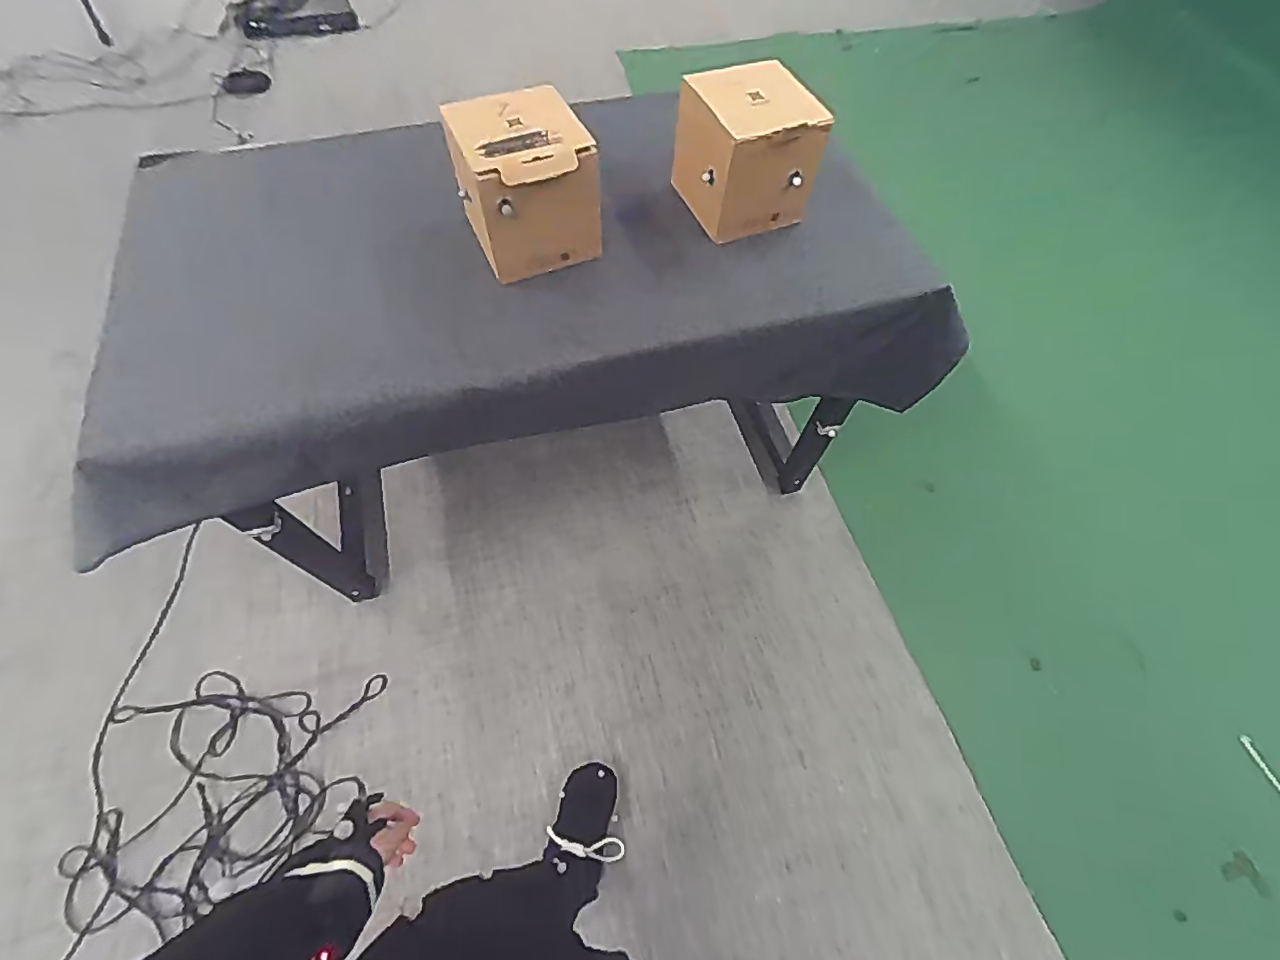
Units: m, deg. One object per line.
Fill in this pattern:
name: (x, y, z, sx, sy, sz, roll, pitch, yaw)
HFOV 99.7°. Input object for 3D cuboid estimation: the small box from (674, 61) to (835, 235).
small box: (0.166, -0.511, 0.849, 0.168, 0.176, 0.179, -20, 63, -14)
